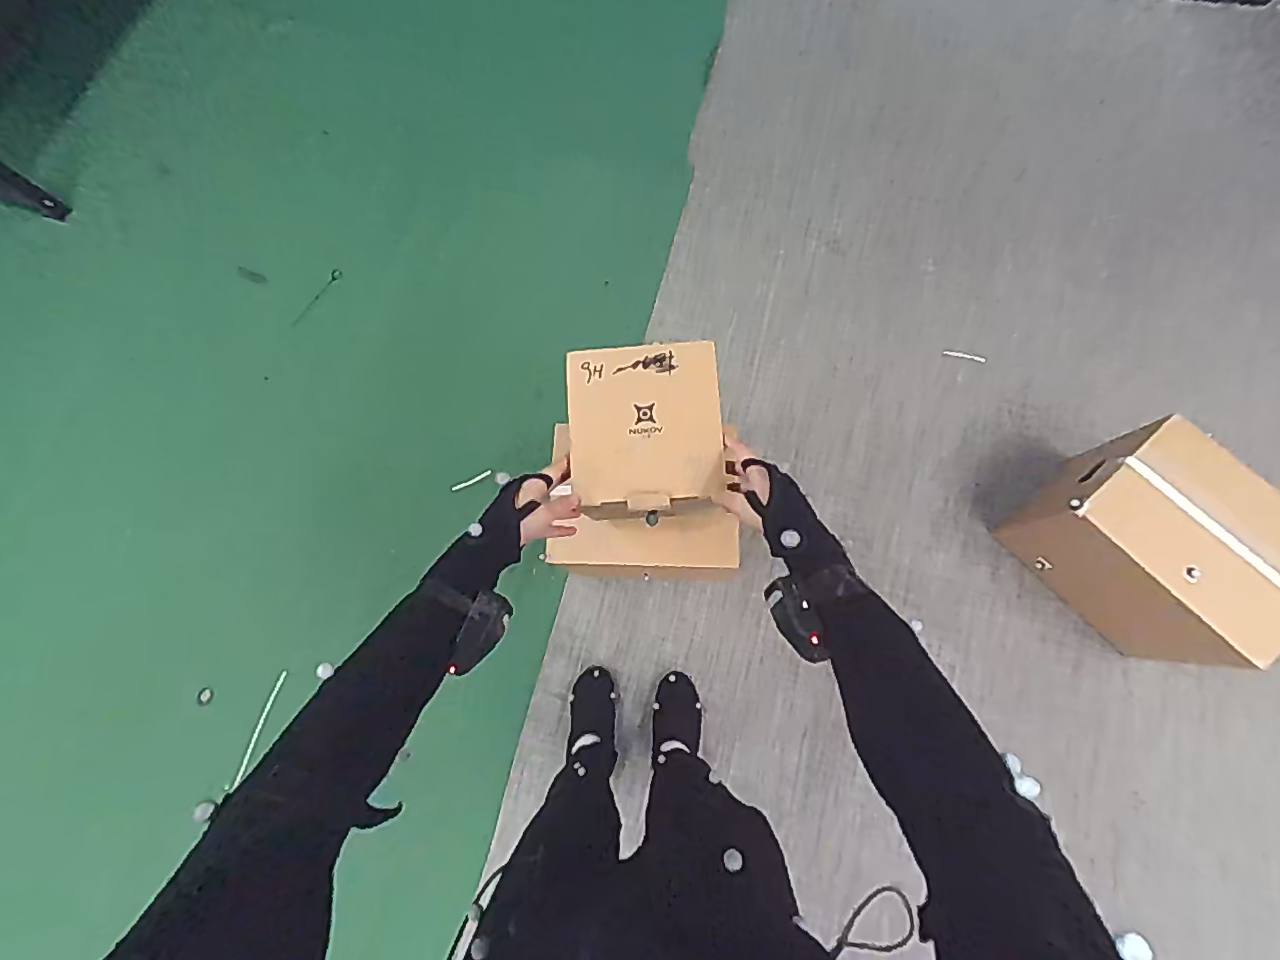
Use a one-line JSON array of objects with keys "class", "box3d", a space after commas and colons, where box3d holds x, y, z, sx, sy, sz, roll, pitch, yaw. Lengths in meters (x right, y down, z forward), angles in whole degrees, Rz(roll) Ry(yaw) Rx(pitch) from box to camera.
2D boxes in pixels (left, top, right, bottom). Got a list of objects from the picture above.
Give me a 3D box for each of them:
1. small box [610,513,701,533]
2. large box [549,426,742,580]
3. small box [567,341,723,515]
[{"class": "small box", "box3d": [0.033, 0.008, 1.050, 0.179, 0.176, 0.168, 4, 77, 5]}, {"class": "large box", "box3d": [0.026, 0.073, 1.288, 0.408, 0.320, 0.320, 0, 74, 6]}, {"class": "small box", "box3d": [0.010, -0.050, 0.659, 0.168, 0.176, 0.179, -4, 81, 3]}]
